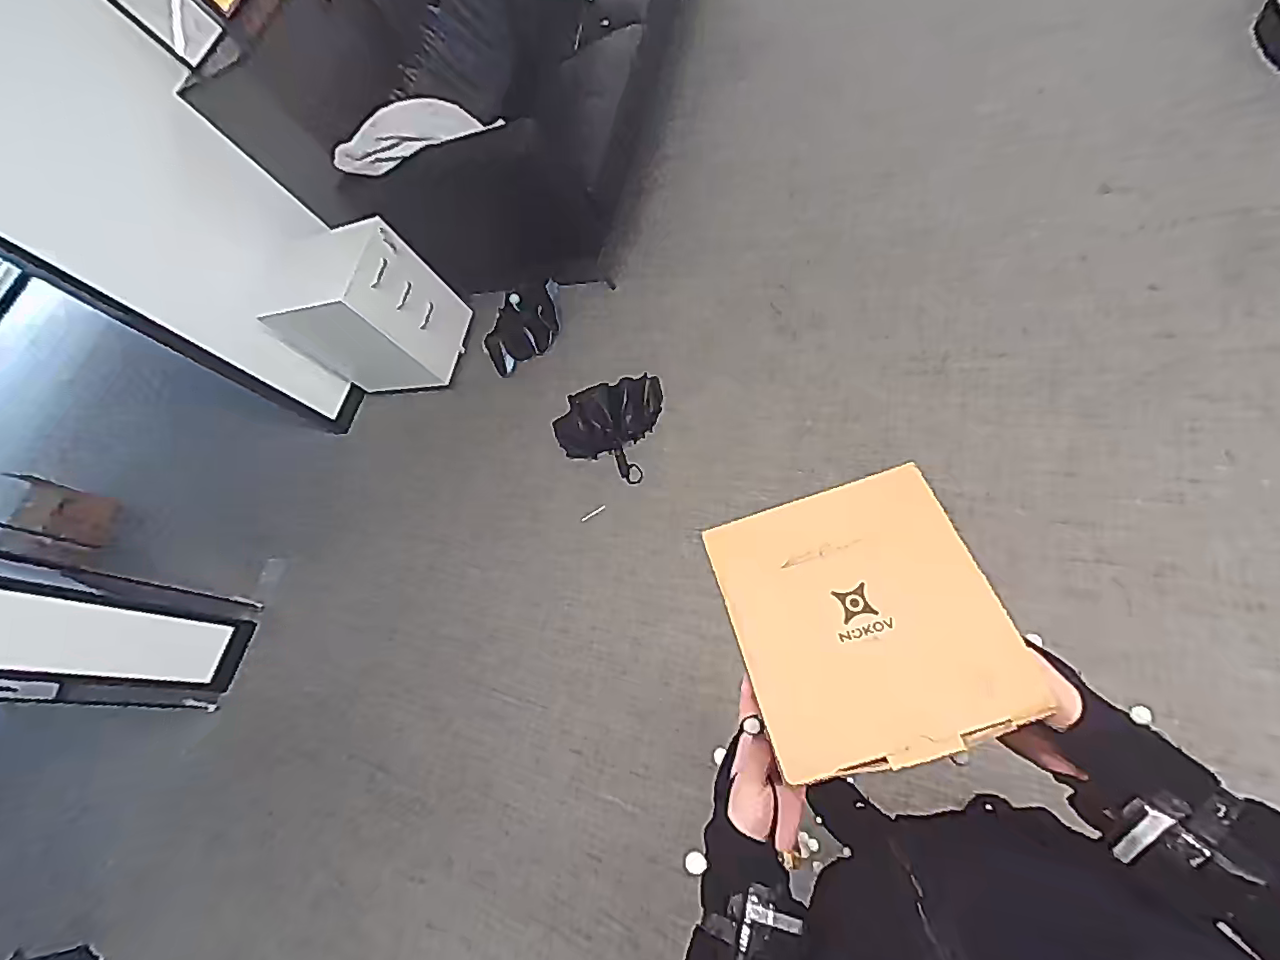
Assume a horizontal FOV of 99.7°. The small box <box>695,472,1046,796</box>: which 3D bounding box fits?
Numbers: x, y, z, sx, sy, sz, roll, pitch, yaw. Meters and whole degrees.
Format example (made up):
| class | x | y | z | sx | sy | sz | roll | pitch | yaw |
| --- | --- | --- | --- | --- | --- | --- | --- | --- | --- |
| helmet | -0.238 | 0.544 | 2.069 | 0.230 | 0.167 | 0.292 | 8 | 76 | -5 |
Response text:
| class | x | y | z | sx | sy | sz | roll | pitch | yaw |
| --- | --- | --- | --- | --- | --- | --- | --- | --- | --- |
| small box | 0.156 | 0.127 | 0.425 | 0.168 | 0.176 | 0.179 | -19 | 58 | 3 |
